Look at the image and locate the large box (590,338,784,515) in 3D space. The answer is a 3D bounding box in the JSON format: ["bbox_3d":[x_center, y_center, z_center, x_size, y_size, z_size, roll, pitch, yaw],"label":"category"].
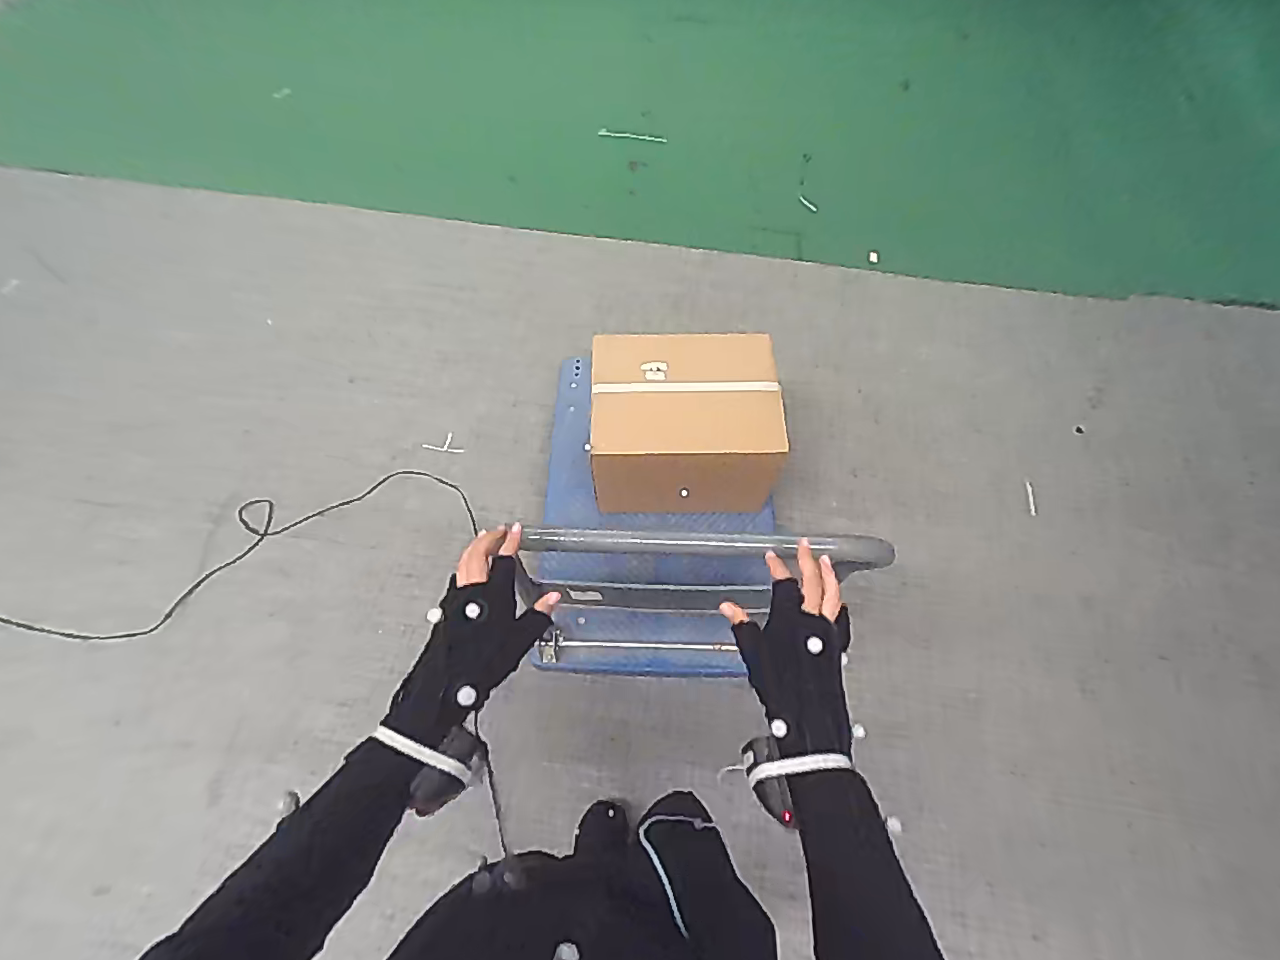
[{"bbox_3d":[0.096,-0.116,1.297,0.408,0.320,0.320,-1,62,0],"label":"large box"}]
